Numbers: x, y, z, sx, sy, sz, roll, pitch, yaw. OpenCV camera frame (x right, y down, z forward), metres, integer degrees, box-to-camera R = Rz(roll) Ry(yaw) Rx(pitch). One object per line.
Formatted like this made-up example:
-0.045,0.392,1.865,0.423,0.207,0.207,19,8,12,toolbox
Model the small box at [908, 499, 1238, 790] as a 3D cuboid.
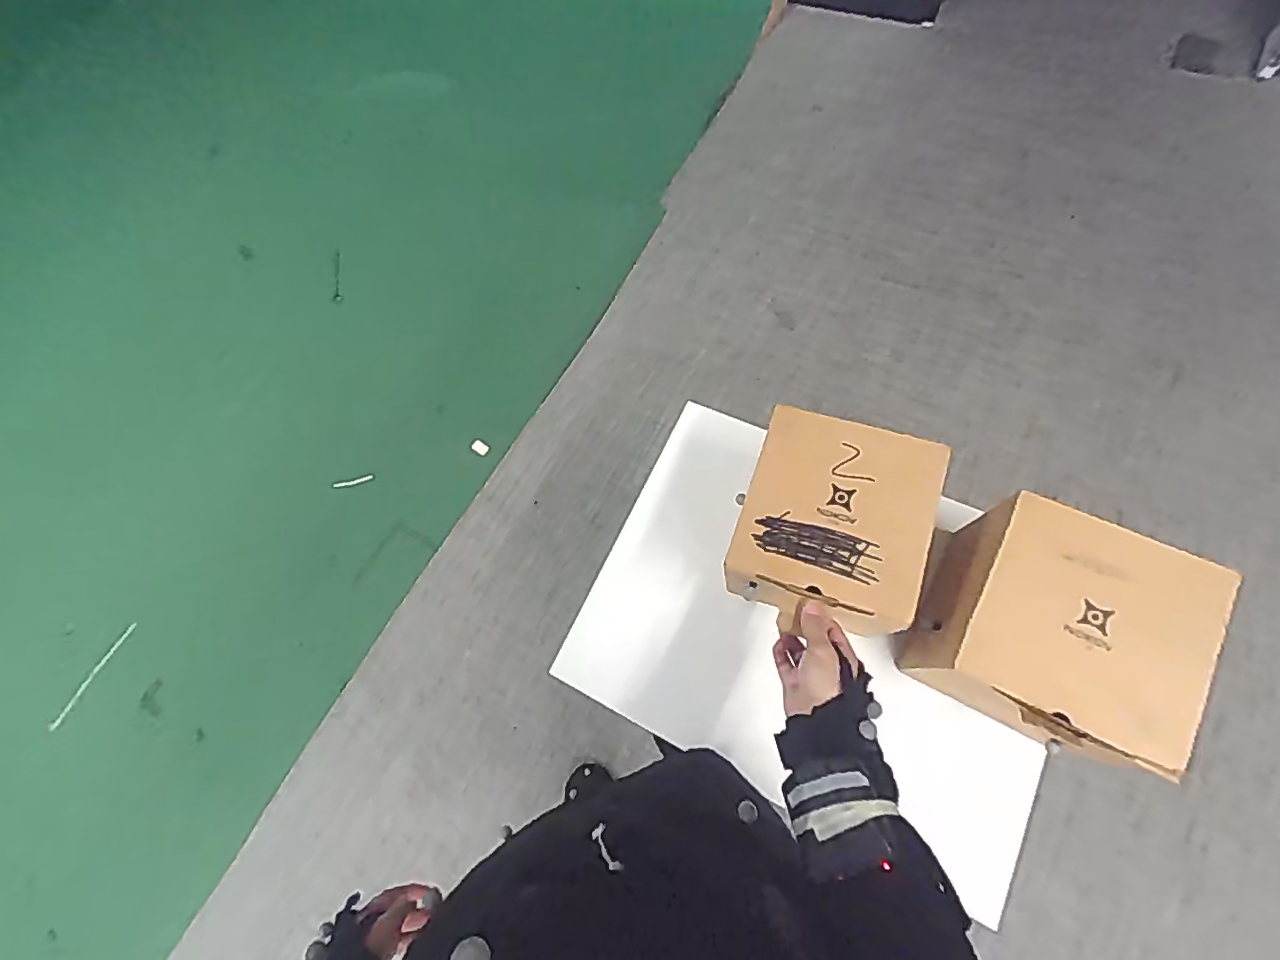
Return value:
0.378,0.148,0.508,0.168,0.176,0.179,25,76,17,small box
